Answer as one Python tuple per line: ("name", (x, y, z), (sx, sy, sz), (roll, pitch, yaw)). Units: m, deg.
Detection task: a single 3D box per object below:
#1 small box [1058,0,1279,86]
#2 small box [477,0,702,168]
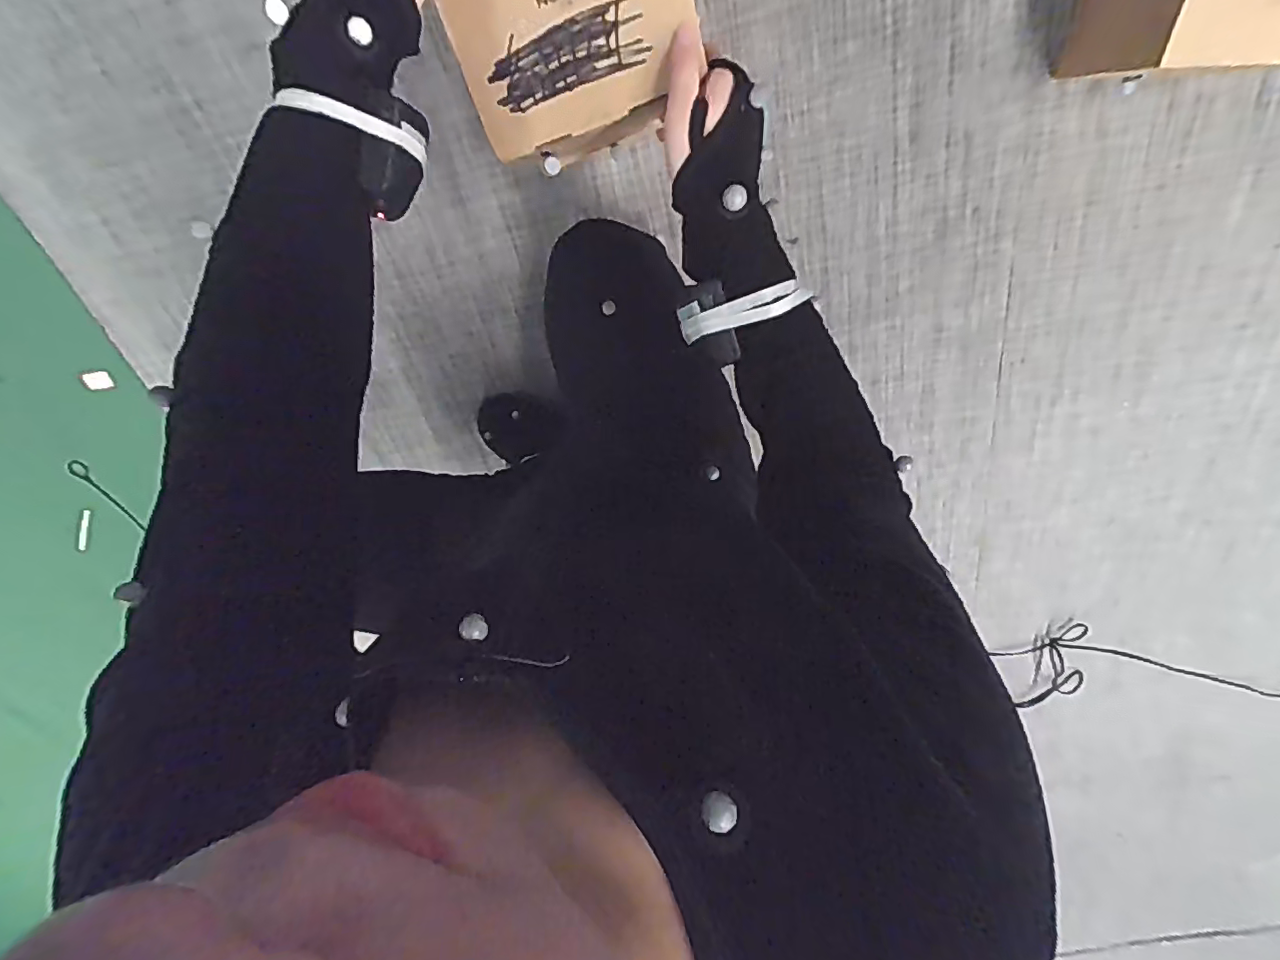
("small box", (0.555, -0.495, 0.517), (0.168, 0.176, 0.179), (1, 121, 3))
("small box", (-0.041, -0.450, 0.571), (0.179, 0.176, 0.168), (-16, 120, 13))
